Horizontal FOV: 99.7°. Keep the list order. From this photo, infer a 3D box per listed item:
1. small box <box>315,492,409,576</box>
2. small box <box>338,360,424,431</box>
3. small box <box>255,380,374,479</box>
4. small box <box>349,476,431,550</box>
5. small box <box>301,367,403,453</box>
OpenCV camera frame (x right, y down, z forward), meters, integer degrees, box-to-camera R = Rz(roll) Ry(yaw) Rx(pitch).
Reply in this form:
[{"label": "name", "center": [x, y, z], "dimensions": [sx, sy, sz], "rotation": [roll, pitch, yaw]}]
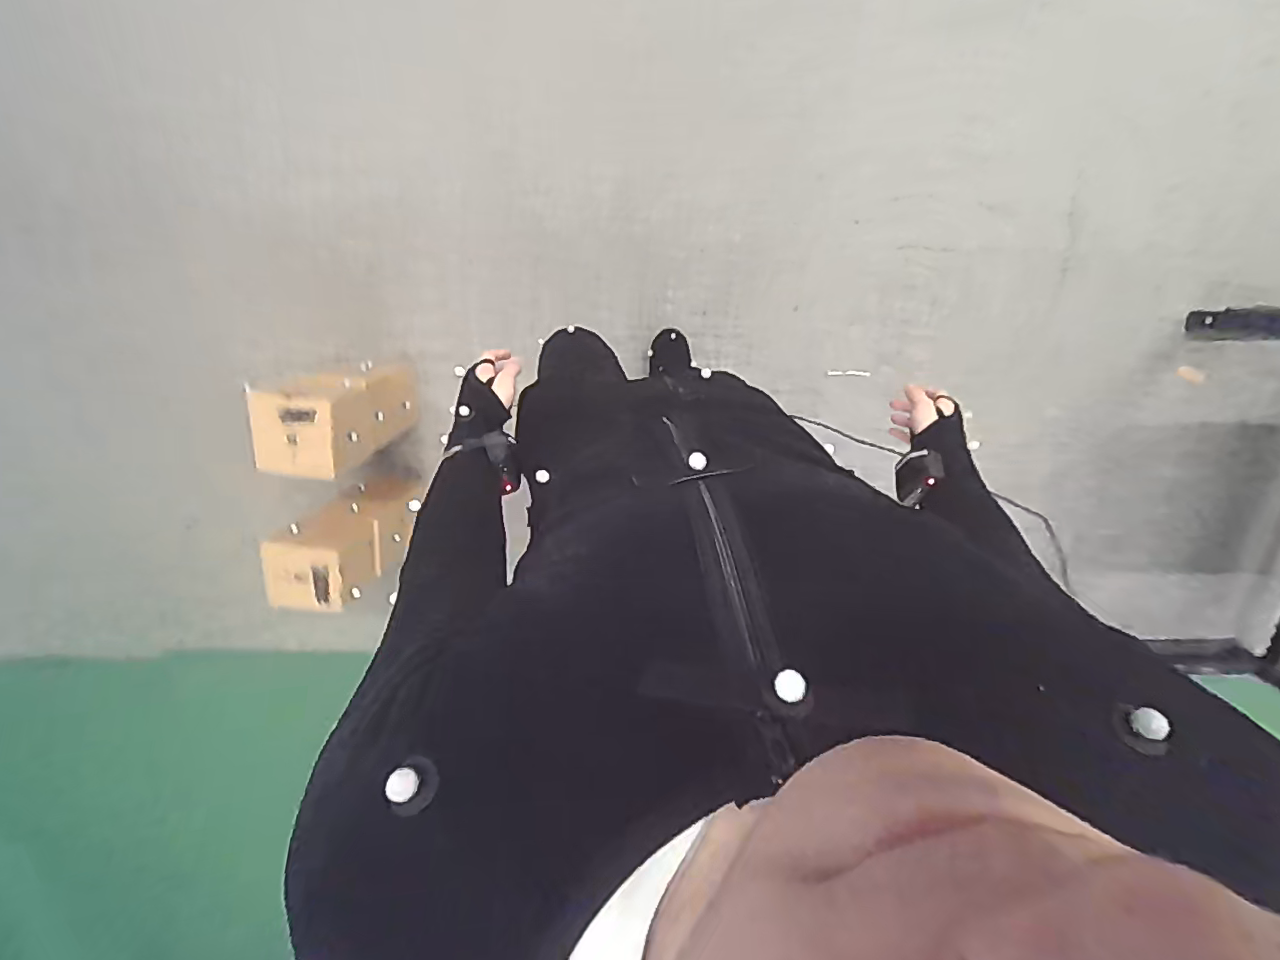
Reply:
[{"label": "small box", "center": [-0.741, 0.141, 1.461], "dimensions": [0.179, 0.176, 0.168], "rotation": [7, 108, 0]}, {"label": "small box", "center": [-0.718, -0.232, 1.508], "dimensions": [0.168, 0.176, 0.179], "rotation": [3, 109, -1]}, {"label": "small box", "center": [-0.711, -0.119, 1.201], "dimensions": [0.168, 0.176, 0.179], "rotation": [7, 109, -2]}, {"label": "small box", "center": [-0.739, 0.094, 1.619], "dimensions": [0.179, 0.176, 0.168], "rotation": [5, 108, 0]}, {"label": "small box", "center": [-0.709, -0.180, 1.353], "dimensions": [0.168, 0.176, 0.179], "rotation": [5, 108, -1]}]
